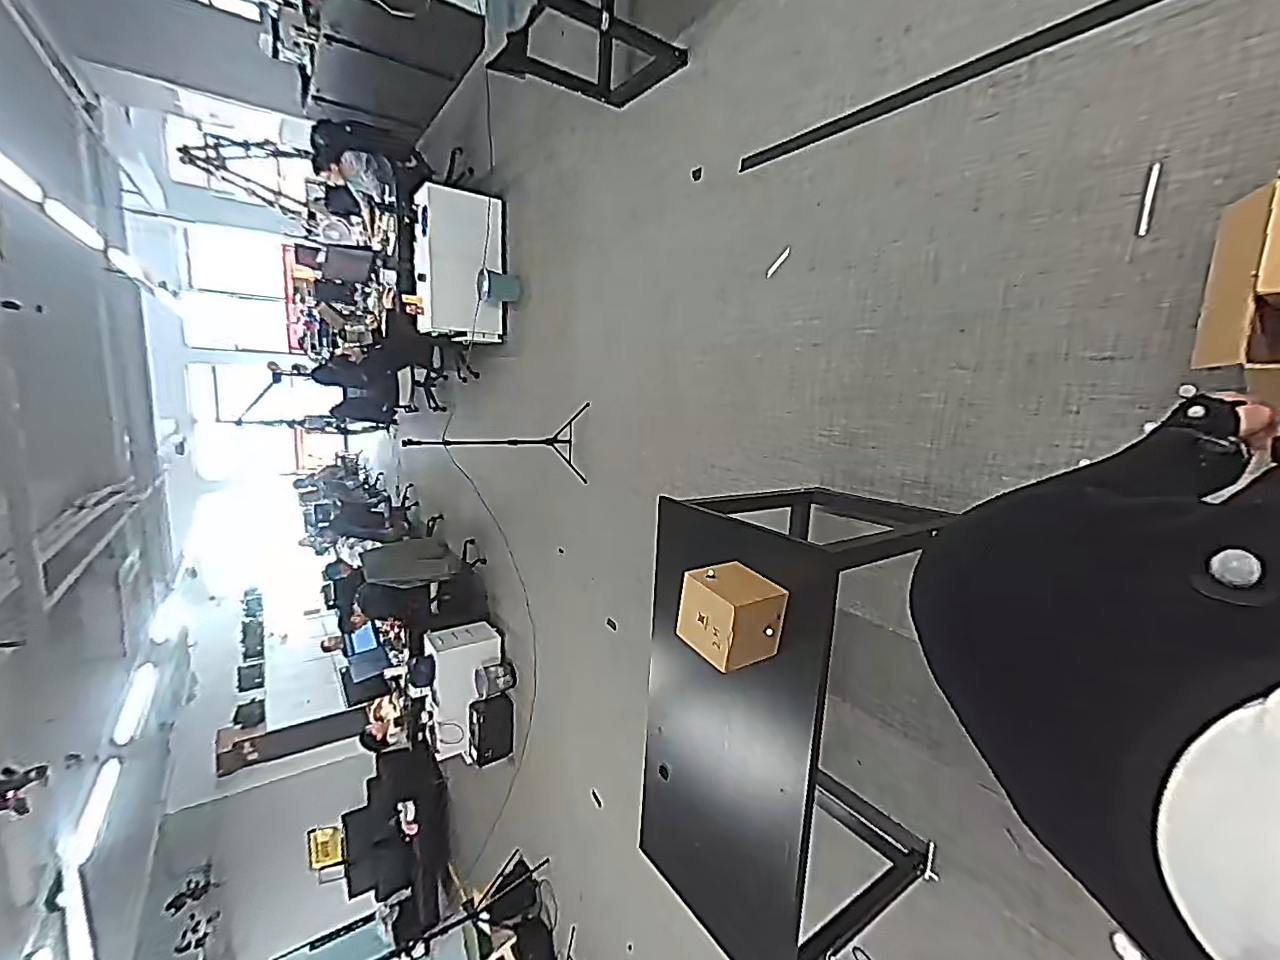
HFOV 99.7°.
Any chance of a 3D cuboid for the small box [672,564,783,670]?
[{"bbox_3d":[0.200,0.306,1.255,0.179,0.176,0.168,28,117,51],"label":"small box"}]
